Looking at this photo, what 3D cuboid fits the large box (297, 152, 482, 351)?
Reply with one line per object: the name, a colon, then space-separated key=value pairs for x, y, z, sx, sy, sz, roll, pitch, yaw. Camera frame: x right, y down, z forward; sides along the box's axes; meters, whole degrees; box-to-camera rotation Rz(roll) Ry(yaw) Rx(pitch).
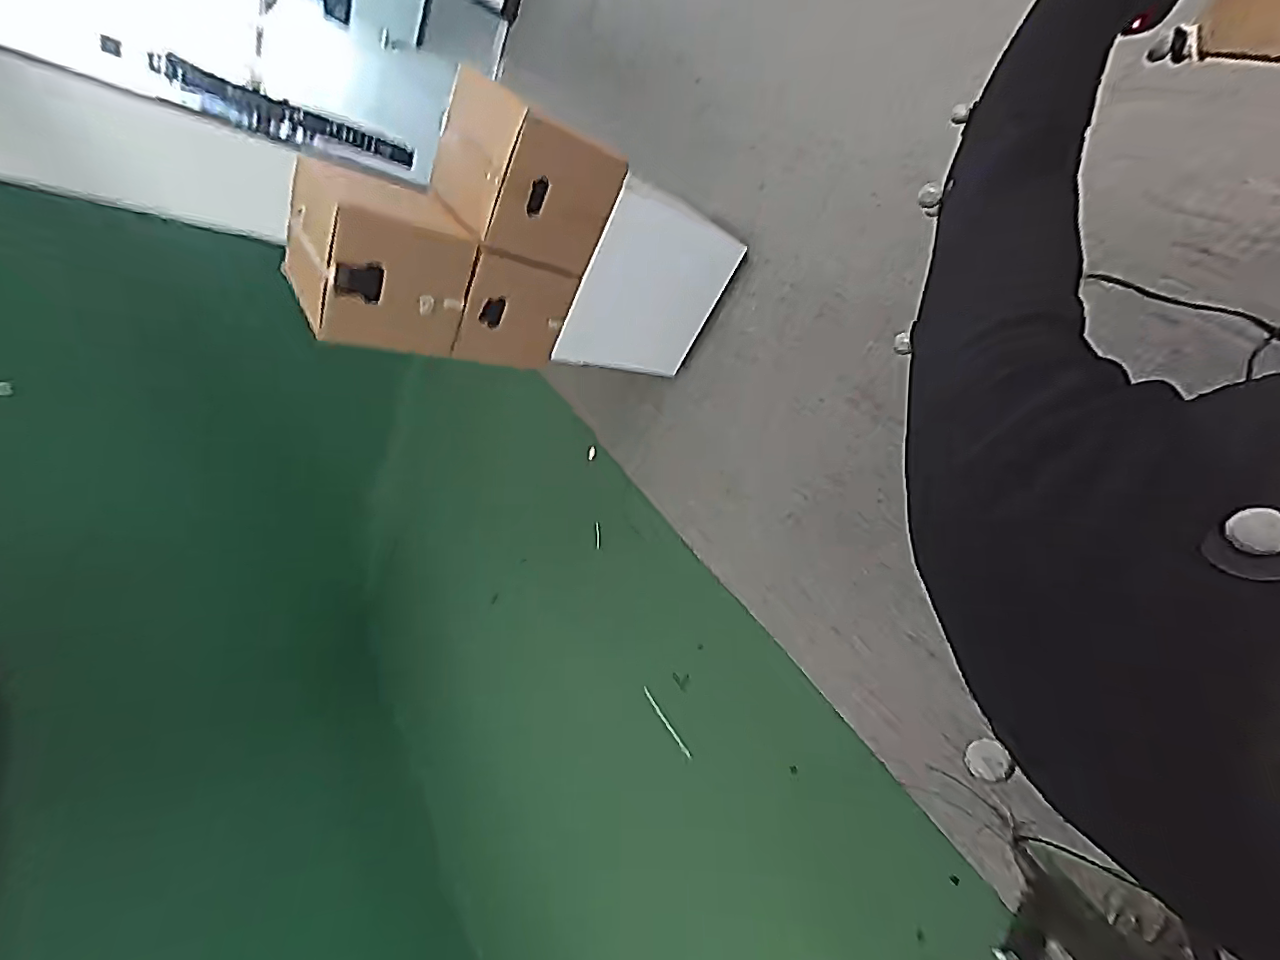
large box: x=-0.647 y=-0.570 z=1.376 sx=0.408 sy=0.320 sz=0.320 roll=48 pitch=123 yaw=35
